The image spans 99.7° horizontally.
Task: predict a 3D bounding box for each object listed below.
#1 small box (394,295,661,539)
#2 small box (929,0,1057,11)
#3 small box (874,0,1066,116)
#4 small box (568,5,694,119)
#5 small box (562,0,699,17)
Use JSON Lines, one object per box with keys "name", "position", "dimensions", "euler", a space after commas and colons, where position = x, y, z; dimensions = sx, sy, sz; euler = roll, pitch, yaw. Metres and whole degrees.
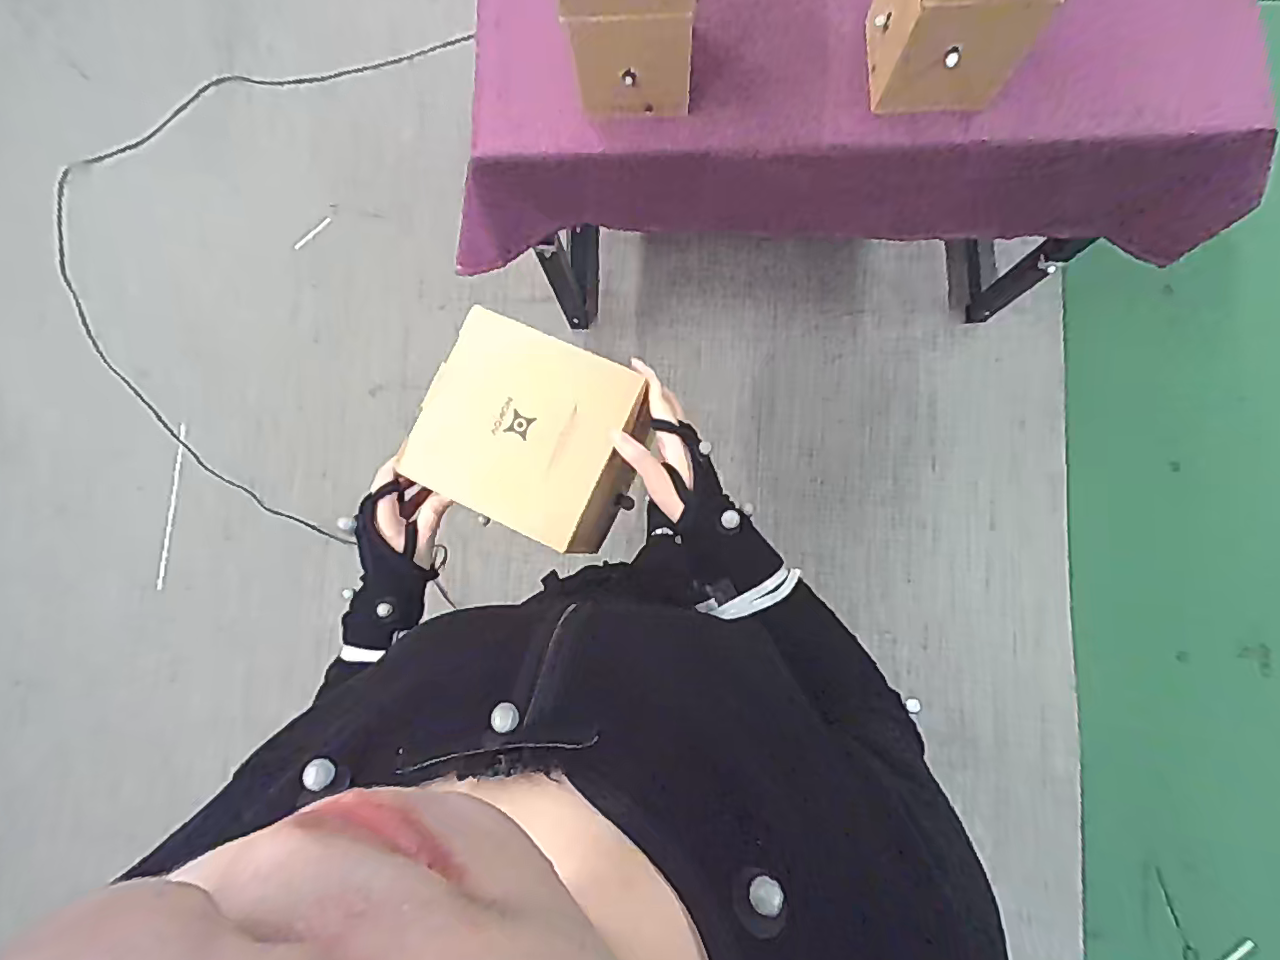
{"name": "small box", "position": [-0.093, -0.047, 0.538], "dimensions": [0.179, 0.176, 0.168], "euler": [25, 86, 10]}
{"name": "small box", "position": [0.428, -0.674, 0.596], "dimensions": [0.168, 0.176, 0.179], "euler": [1, 83, 3]}
{"name": "small box", "position": [0.441, -0.646, 0.756], "dimensions": [0.179, 0.176, 0.168], "euler": [0, 83, 4]}
{"name": "small box", "position": [-0.005, -0.660, 0.784], "dimensions": [0.168, 0.176, 0.179], "euler": [1, 82, 3]}
{"name": "small box", "position": [-0.016, -0.680, 0.621], "dimensions": [0.179, 0.176, 0.168], "euler": [0, 83, 3]}
